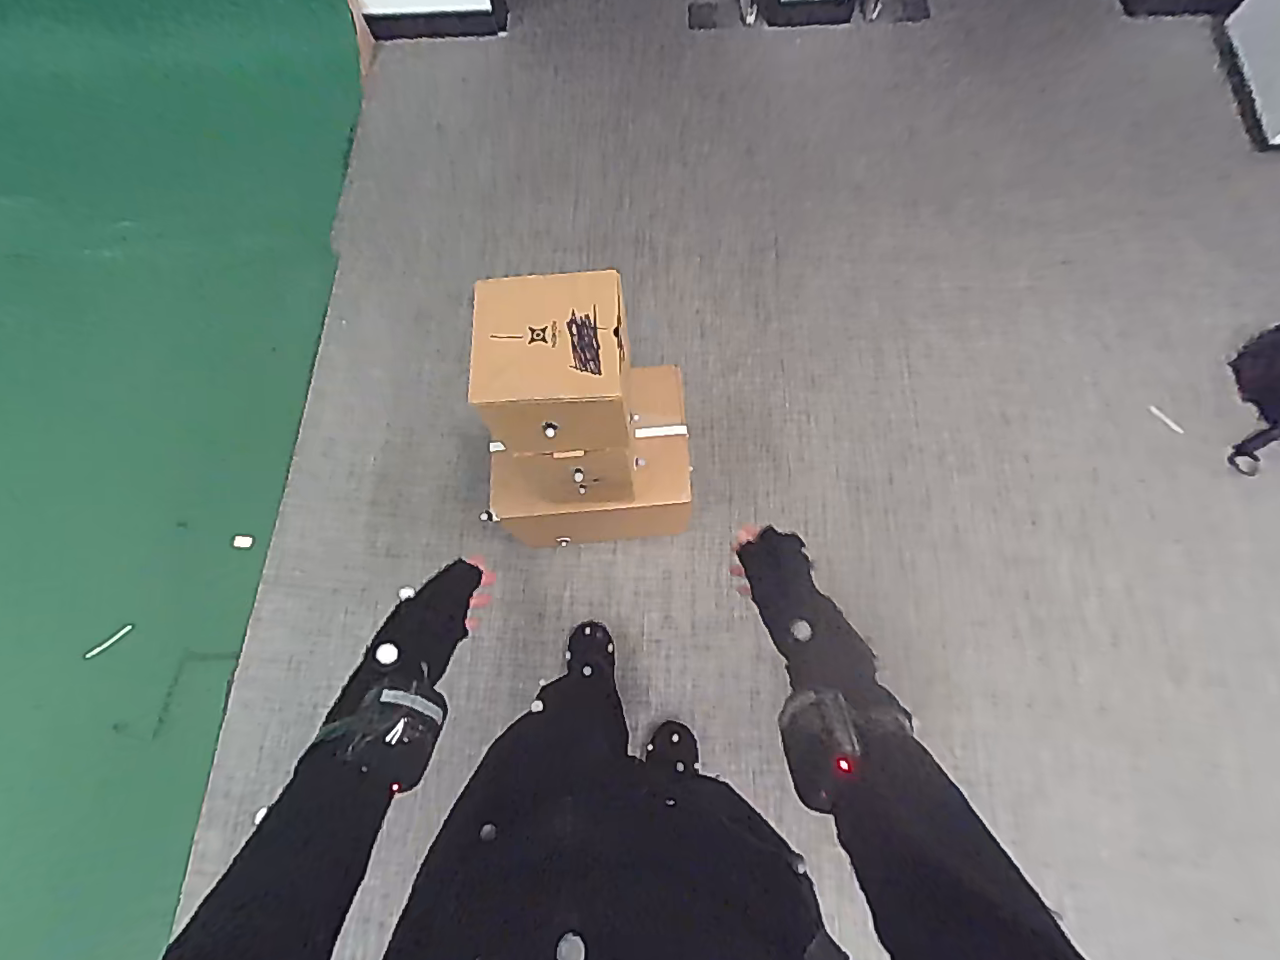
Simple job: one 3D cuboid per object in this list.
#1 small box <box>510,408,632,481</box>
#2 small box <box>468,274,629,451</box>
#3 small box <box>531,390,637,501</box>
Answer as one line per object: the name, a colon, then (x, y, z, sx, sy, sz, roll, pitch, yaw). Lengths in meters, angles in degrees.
small box: (-0.102, -0.099, 0.860, 0.168, 0.176, 0.179, -3, 75, 2)
small box: (-0.104, -0.142, 0.701, 0.179, 0.176, 0.168, -2, 74, 3)
small box: (-0.097, -0.058, 1.017, 0.179, 0.176, 0.168, -1, 75, 1)
